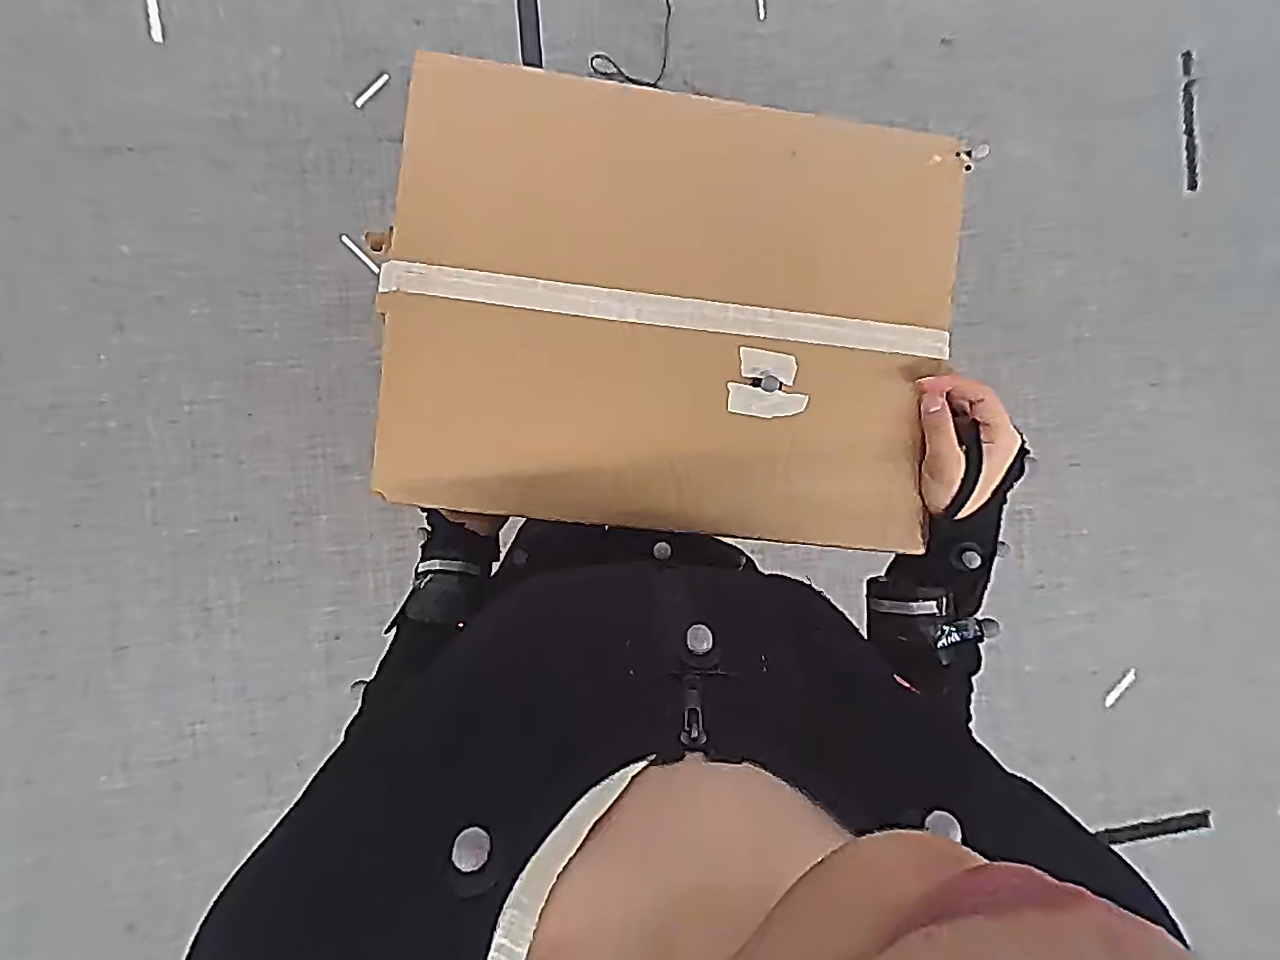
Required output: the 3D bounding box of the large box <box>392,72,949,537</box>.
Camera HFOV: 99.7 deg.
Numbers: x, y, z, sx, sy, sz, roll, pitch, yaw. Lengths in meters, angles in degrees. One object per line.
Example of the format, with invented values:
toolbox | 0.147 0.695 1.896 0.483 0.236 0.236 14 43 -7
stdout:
large box | 0.016 -0.124 0.547 0.408 0.320 0.320 5 91 -6
